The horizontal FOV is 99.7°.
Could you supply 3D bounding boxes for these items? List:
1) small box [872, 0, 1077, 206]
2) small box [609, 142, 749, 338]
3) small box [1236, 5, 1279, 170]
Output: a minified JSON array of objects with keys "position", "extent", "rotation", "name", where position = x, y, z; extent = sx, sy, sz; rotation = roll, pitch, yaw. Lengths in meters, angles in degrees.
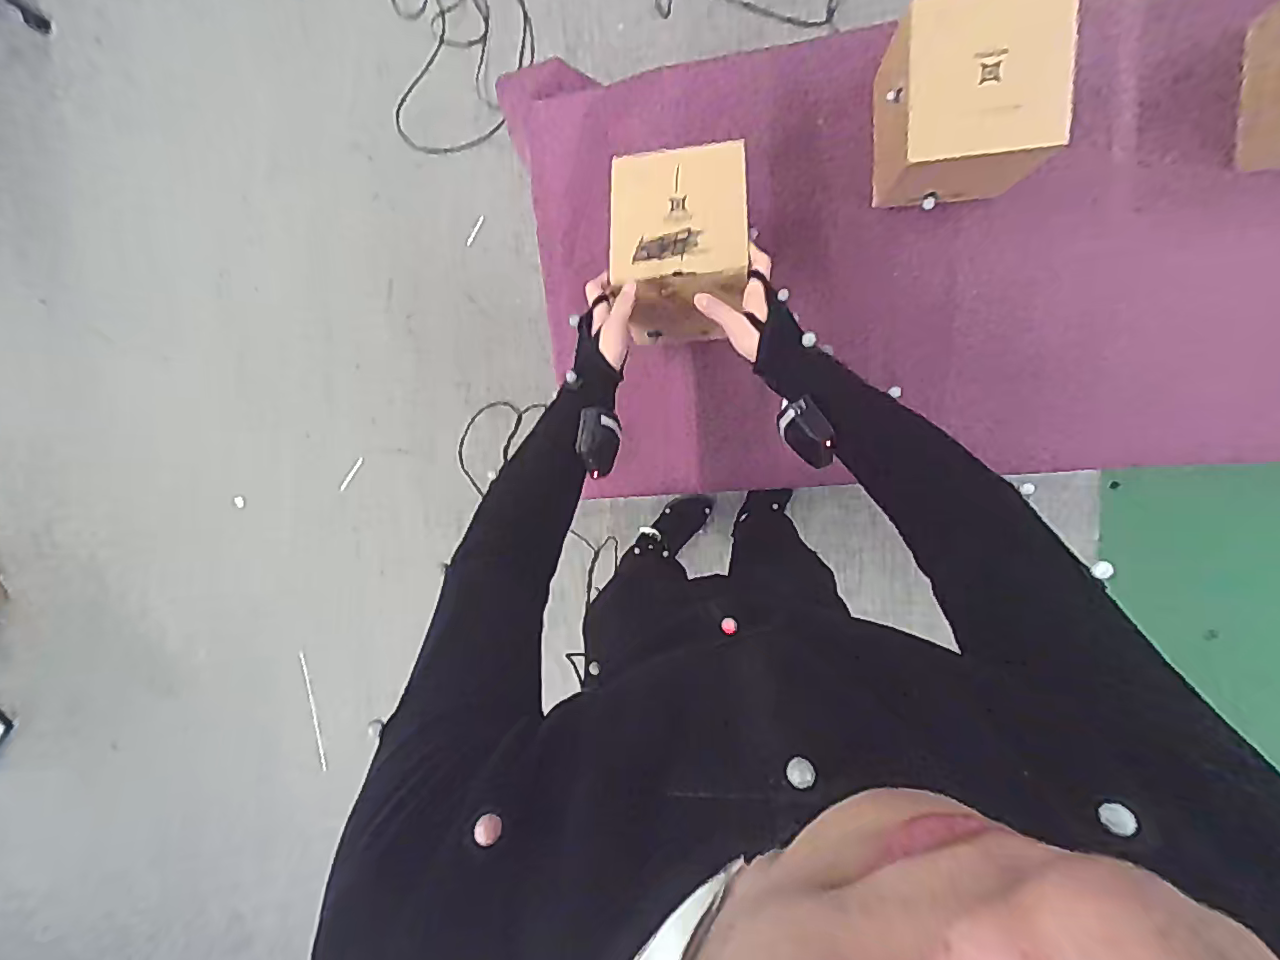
[{"position":[0.394,-0.465,0.669],"extent":[0.168,0.176,0.179],"rotation":[-1,99,10],"name":"small box"},{"position":[0.060,-0.301,0.721],"extent":[0.168,0.176,0.179],"rotation":[-2,77,10],"name":"small box"},{"position":[0.824,-0.475,0.592],"extent":[0.168,0.176,0.179],"rotation":[-2,98,11],"name":"small box"}]
